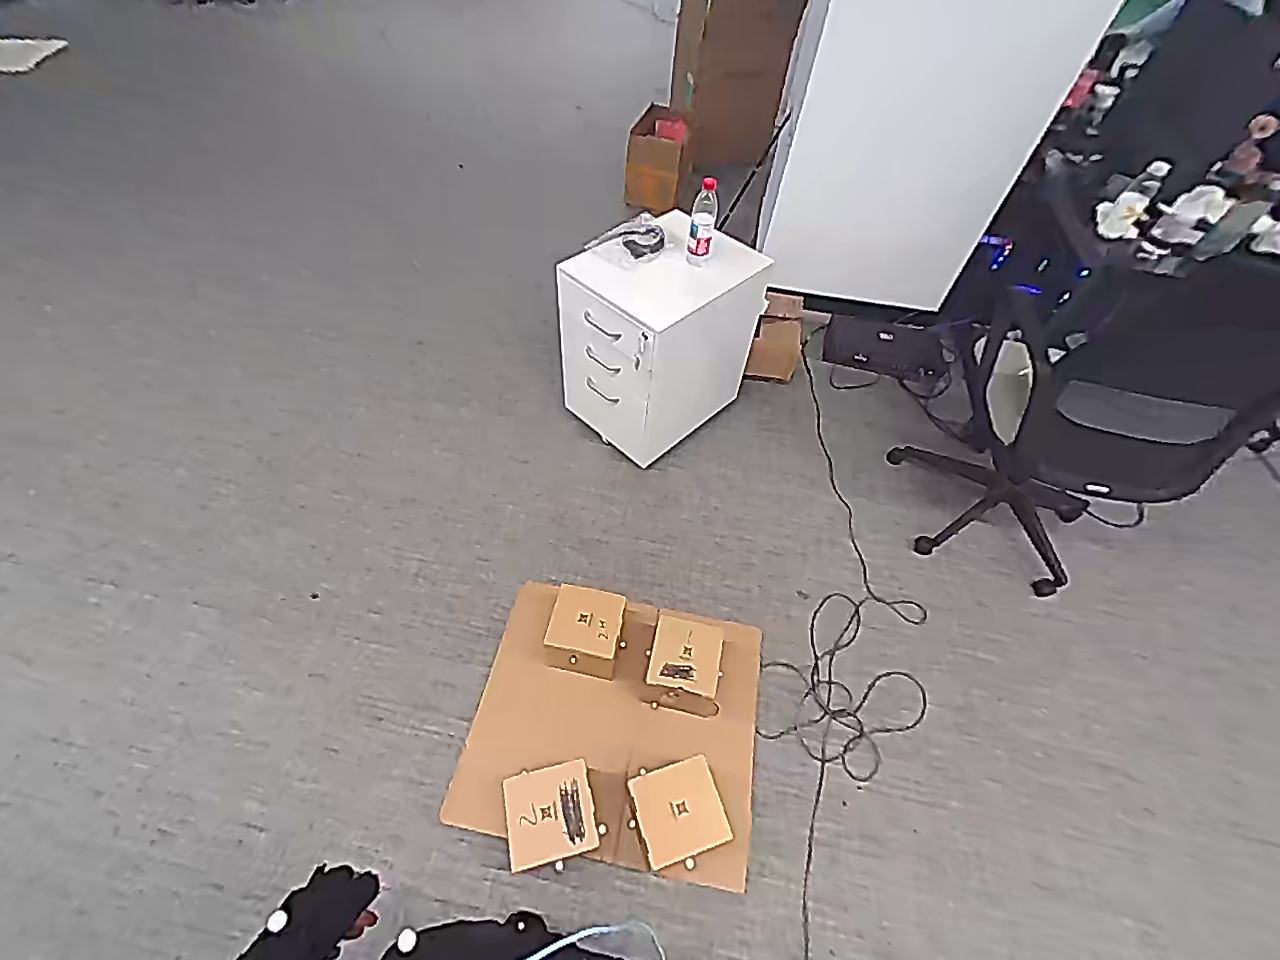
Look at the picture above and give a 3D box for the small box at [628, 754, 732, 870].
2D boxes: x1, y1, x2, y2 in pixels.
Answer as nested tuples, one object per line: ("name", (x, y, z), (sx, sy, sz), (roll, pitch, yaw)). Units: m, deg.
("small box", (0.078, 0.725, 1.181), (0.179, 0.176, 0.168), (-14, 55, -12))
